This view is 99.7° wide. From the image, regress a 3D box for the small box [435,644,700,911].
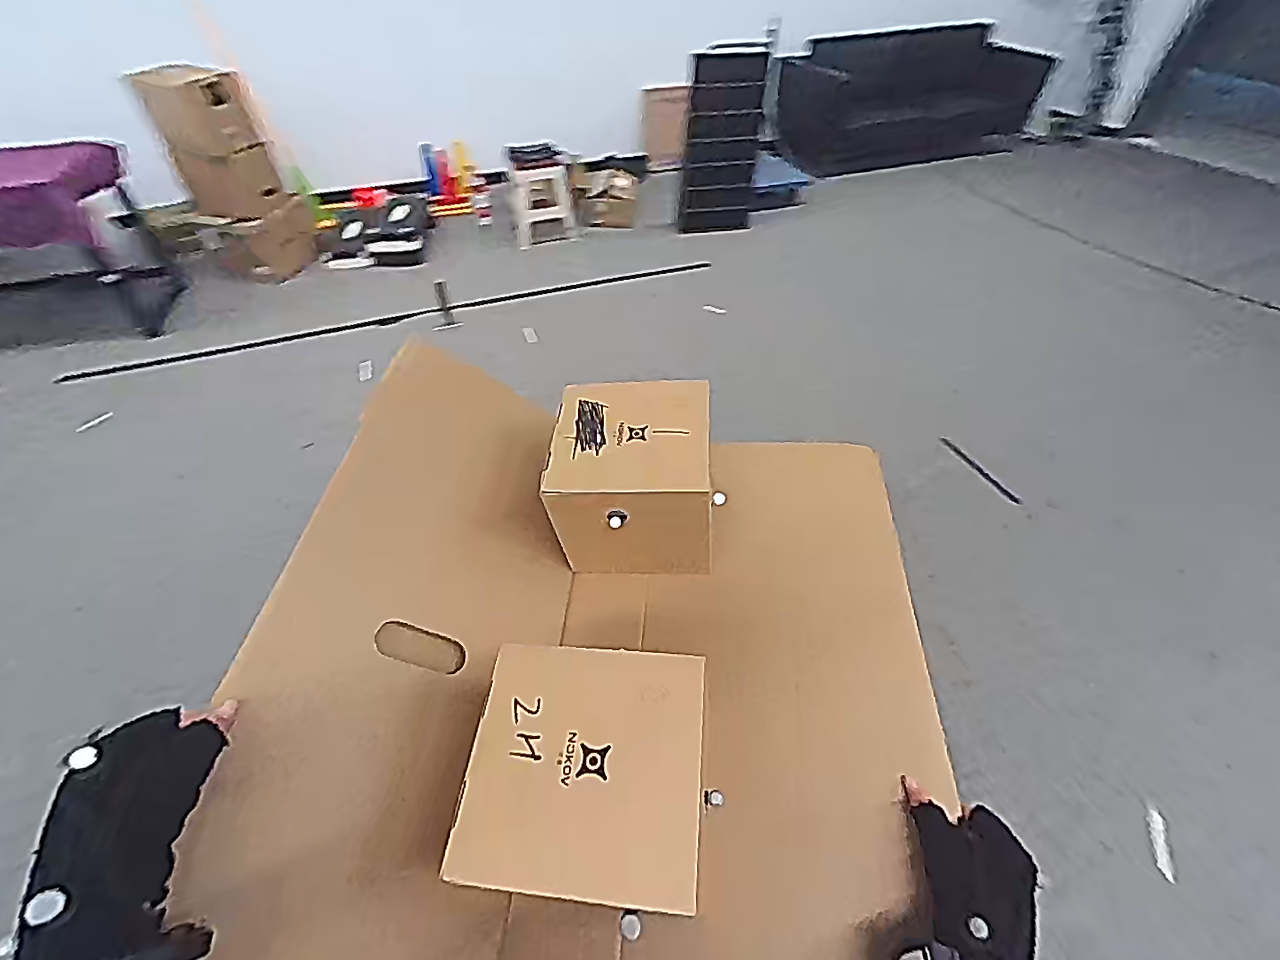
[{"bbox_3d":[-0.039,0.258,0.471,0.179,0.176,0.168,1,52,9],"label":"small box"}]
